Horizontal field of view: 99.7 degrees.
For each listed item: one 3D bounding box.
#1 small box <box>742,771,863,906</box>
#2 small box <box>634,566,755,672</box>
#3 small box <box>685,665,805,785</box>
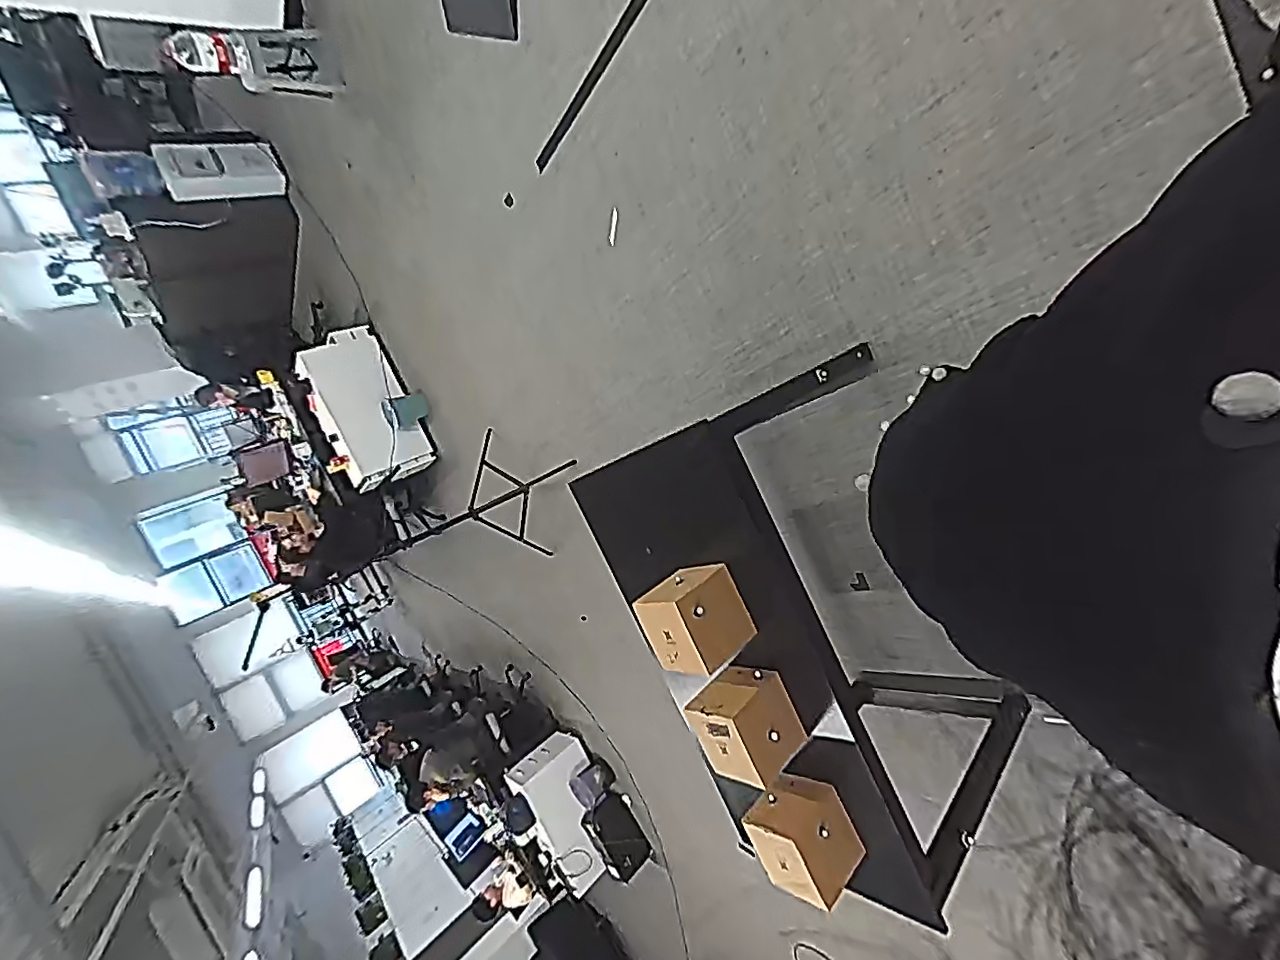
[{"bbox_3d":[0.375,0.808,1.244,0.168,0.176,0.179,-25,93,55],"label":"small box"},{"bbox_3d":[0.123,0.303,1.216,0.168,0.176,0.179,-22,95,55],"label":"small box"},{"bbox_3d":[0.241,0.546,1.233,0.168,0.176,0.179,-20,98,54],"label":"small box"}]
